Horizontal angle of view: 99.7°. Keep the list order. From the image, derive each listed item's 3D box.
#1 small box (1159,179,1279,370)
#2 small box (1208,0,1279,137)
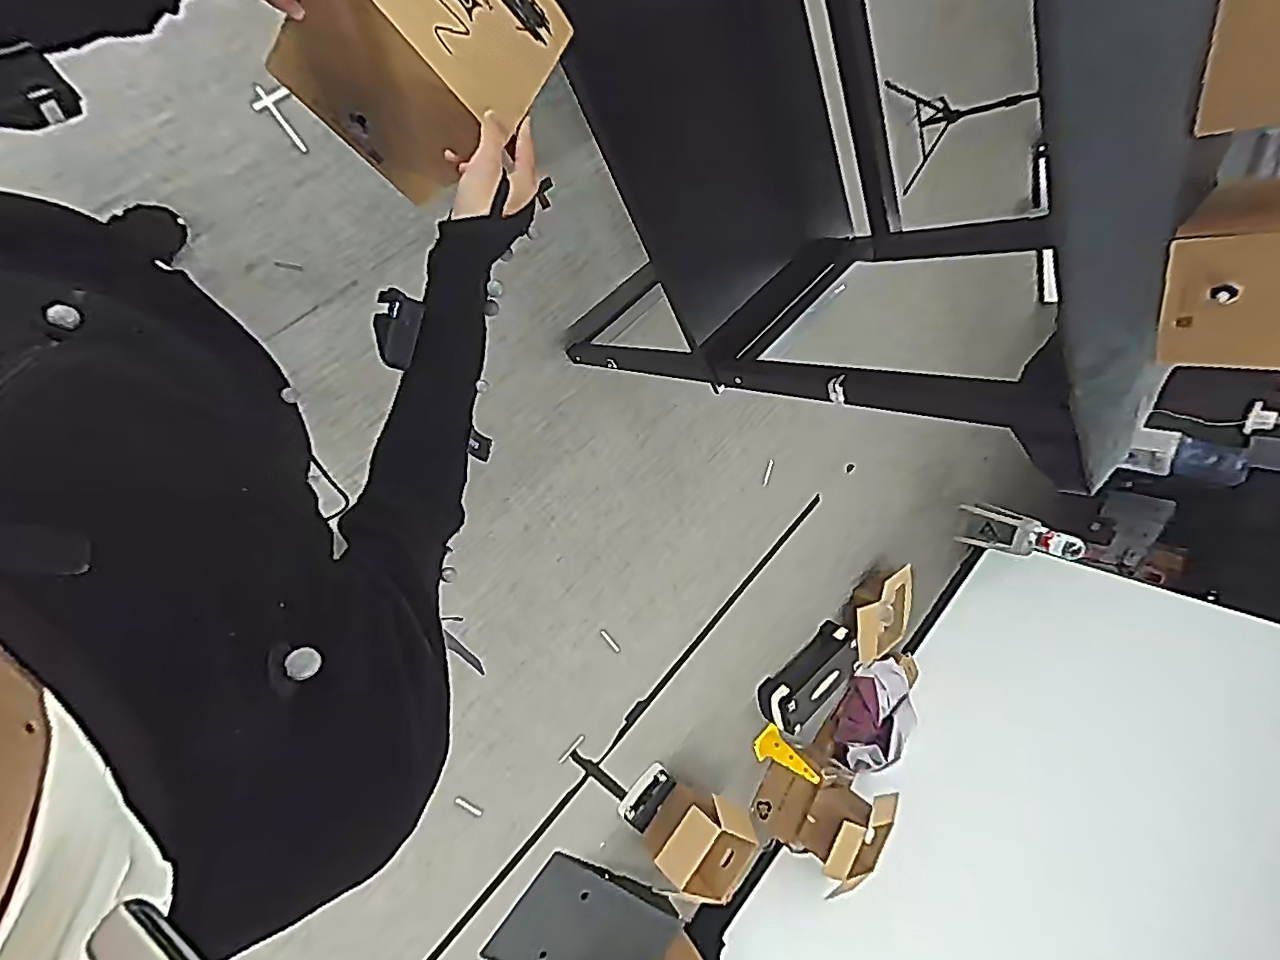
[{"bbox_3d":[0.759,-0.246,0.634,0.179,0.176,0.168,-39,124,-21],"label":"small box"},{"bbox_3d":[0.689,-0.454,0.513,0.168,0.176,0.179,-30,121,-27],"label":"small box"}]
